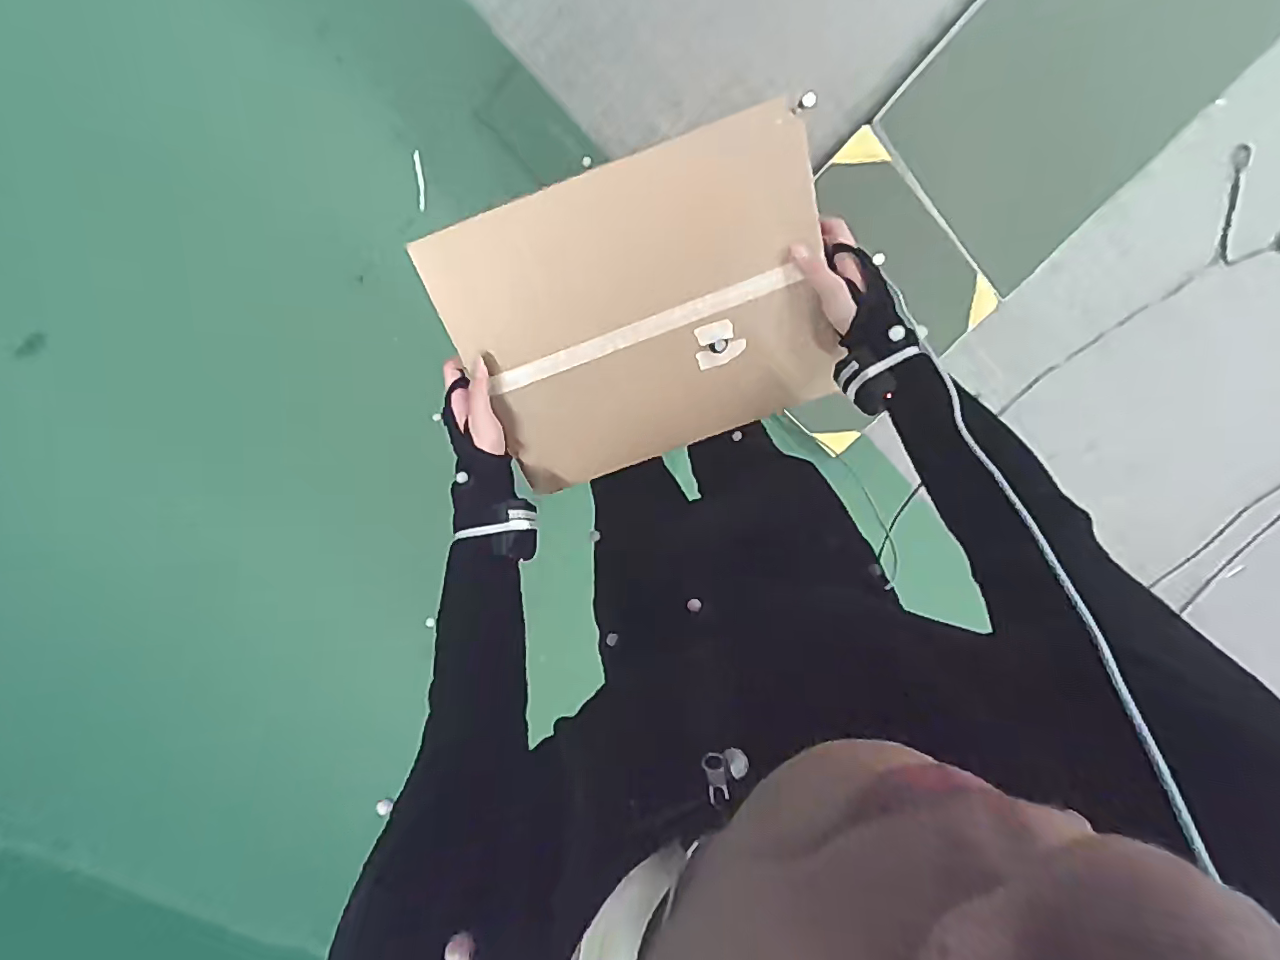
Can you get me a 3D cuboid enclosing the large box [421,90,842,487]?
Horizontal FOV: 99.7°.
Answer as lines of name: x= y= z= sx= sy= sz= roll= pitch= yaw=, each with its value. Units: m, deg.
large box: x=-0.006 y=-0.248 z=0.726 sx=0.408 sy=0.320 sz=0.320 roll=-19 pitch=119 yaw=2
